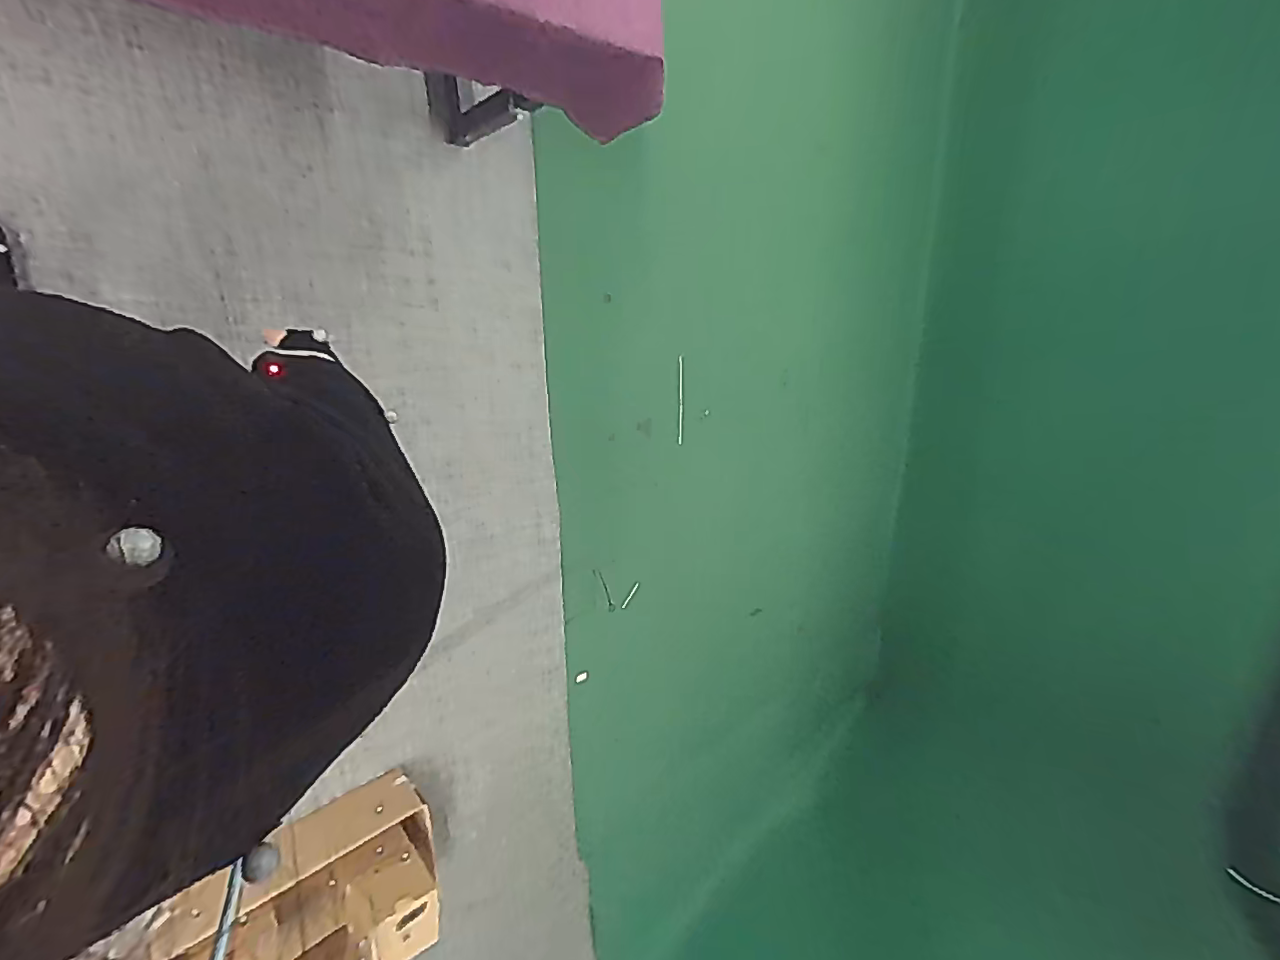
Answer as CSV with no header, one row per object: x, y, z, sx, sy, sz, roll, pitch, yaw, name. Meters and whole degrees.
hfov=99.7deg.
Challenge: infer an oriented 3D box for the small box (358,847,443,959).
-0.640,1.125,1.439,0.168,0.176,0.179,-8,108,-42,small box
